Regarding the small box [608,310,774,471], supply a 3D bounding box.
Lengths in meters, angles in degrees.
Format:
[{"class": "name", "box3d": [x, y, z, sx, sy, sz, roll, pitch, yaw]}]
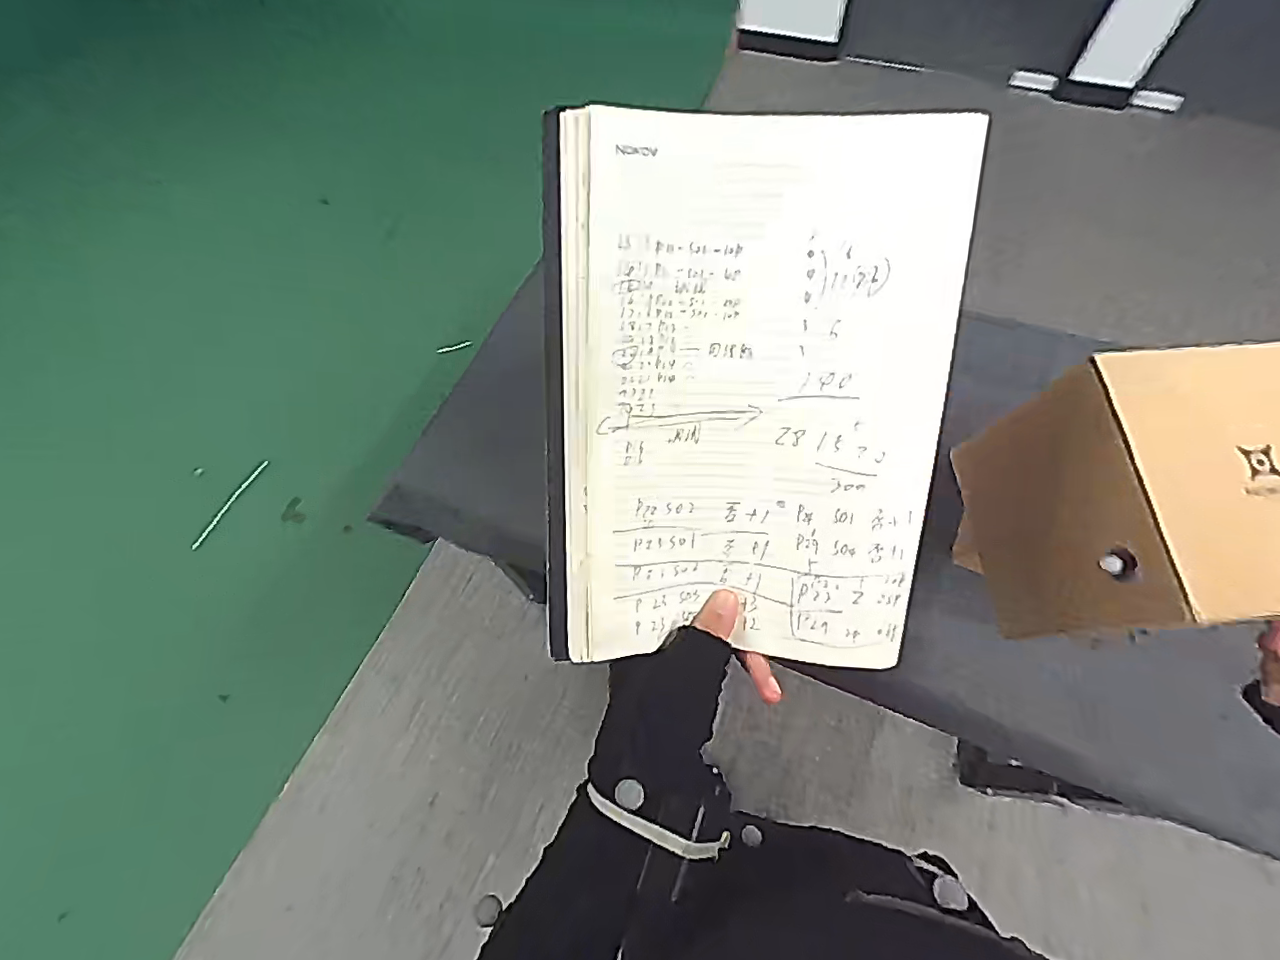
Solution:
[{"class": "small box", "box3d": [0.070, -0.143, 0.759, 0.168, 0.176, 0.179, 21, 66, 13]}]

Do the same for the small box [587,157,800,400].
[{"class": "small box", "box3d": [0.061, -0.221, 0.615, 0.168, 0.176, 0.179, 23, 65, 13]}]

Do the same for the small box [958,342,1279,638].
[{"class": "small box", "box3d": [0.381, 0.018, 0.410, 0.168, 0.176, 0.179, -5, 72, -4]}]
